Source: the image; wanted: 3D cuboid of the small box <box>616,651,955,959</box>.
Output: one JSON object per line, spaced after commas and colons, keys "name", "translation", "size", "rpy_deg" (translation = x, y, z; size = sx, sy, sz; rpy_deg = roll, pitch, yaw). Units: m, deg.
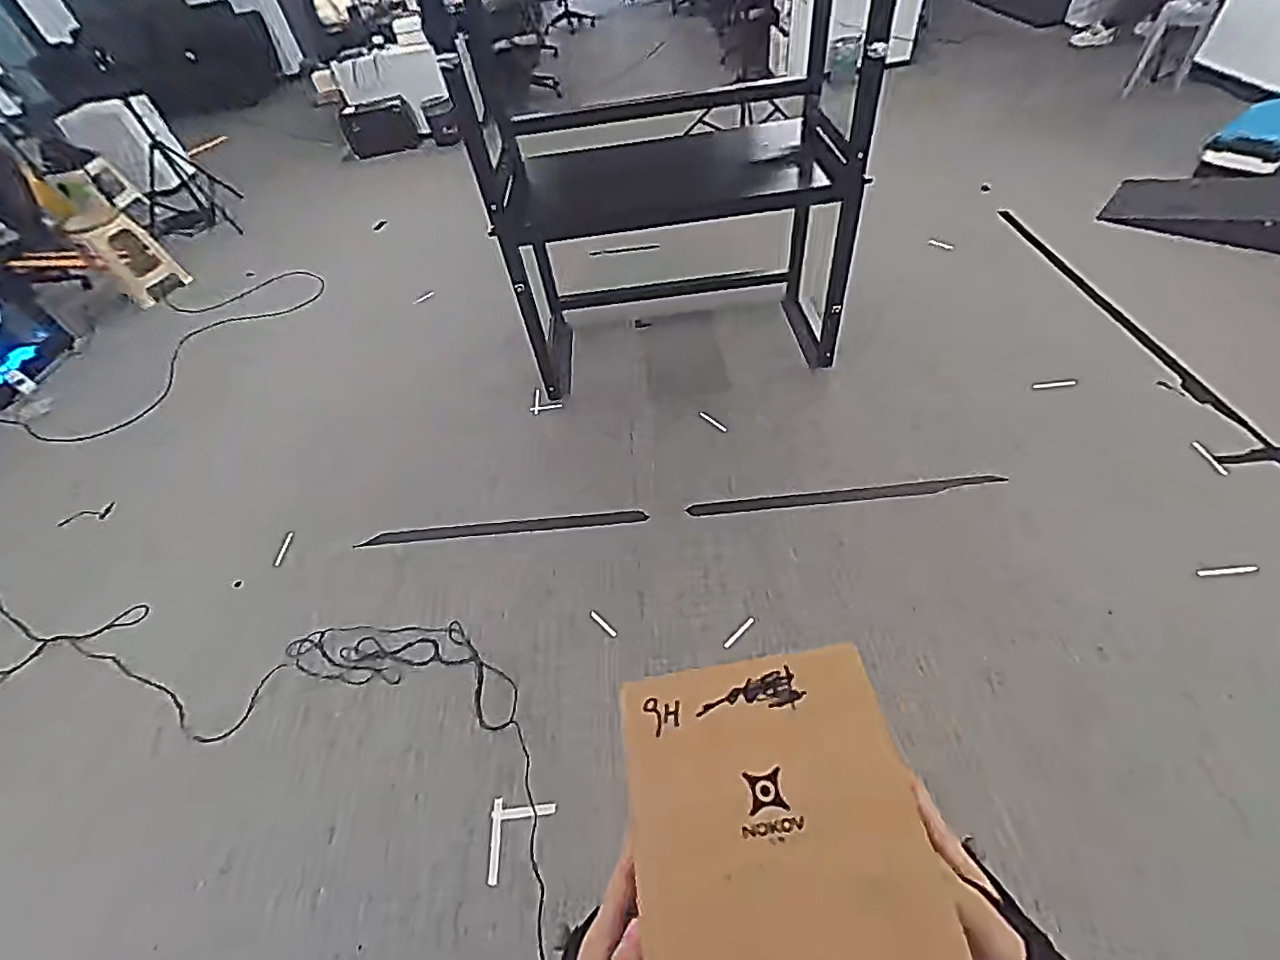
{"name": "small box", "translation": [0.085, 0.244, 0.386], "size": [0.168, 0.176, 0.179], "rpy_deg": [-11, 53, 3]}
